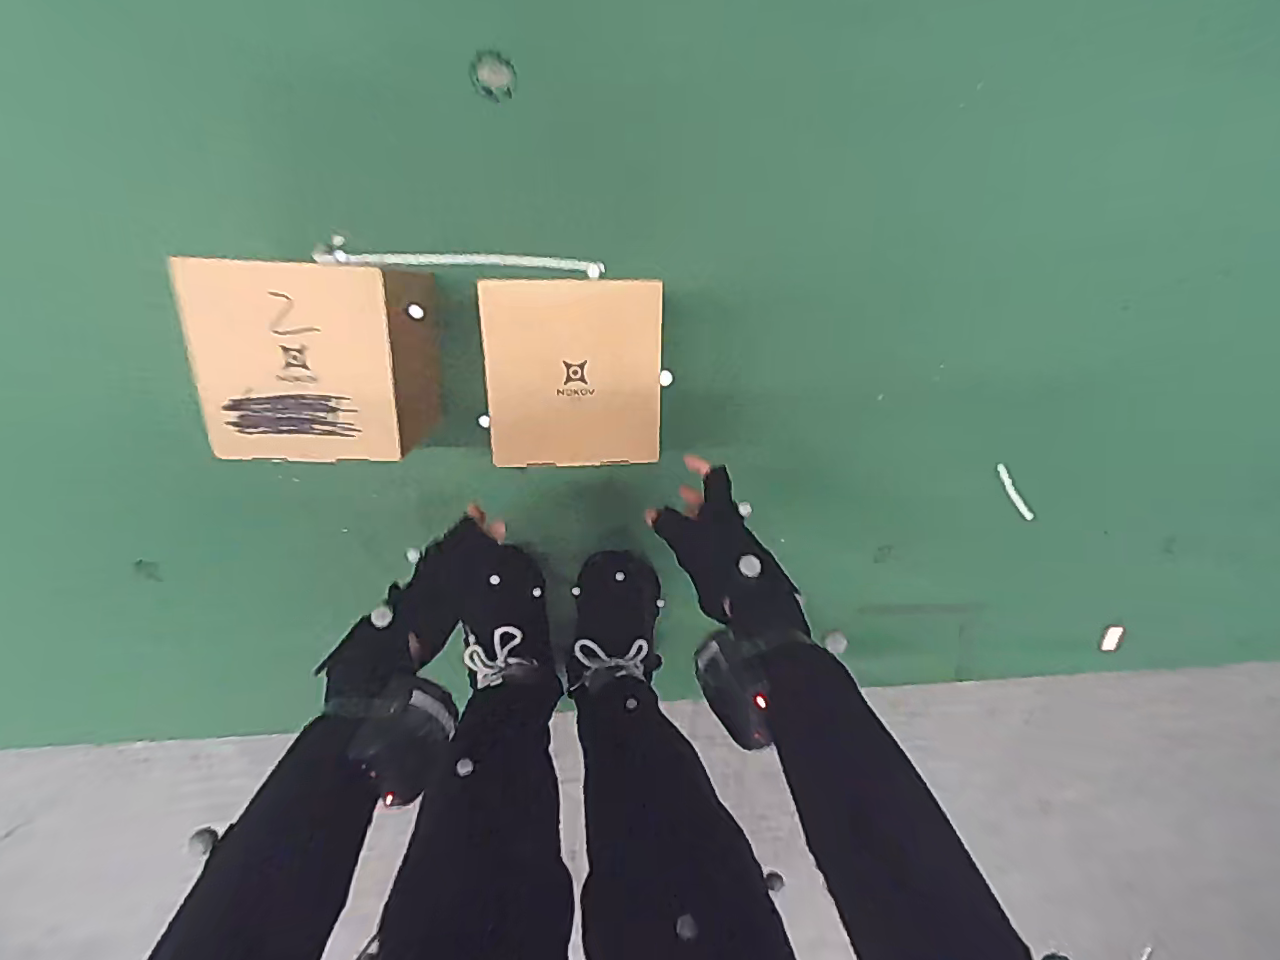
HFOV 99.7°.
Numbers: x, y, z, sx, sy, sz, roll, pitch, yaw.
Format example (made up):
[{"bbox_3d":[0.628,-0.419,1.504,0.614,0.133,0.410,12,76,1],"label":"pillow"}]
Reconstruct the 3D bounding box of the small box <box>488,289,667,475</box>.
[{"bbox_3d":[-0.067,-0.115,0.590,0.168,0.176,0.179,-2,110,-7],"label":"small box"}]
